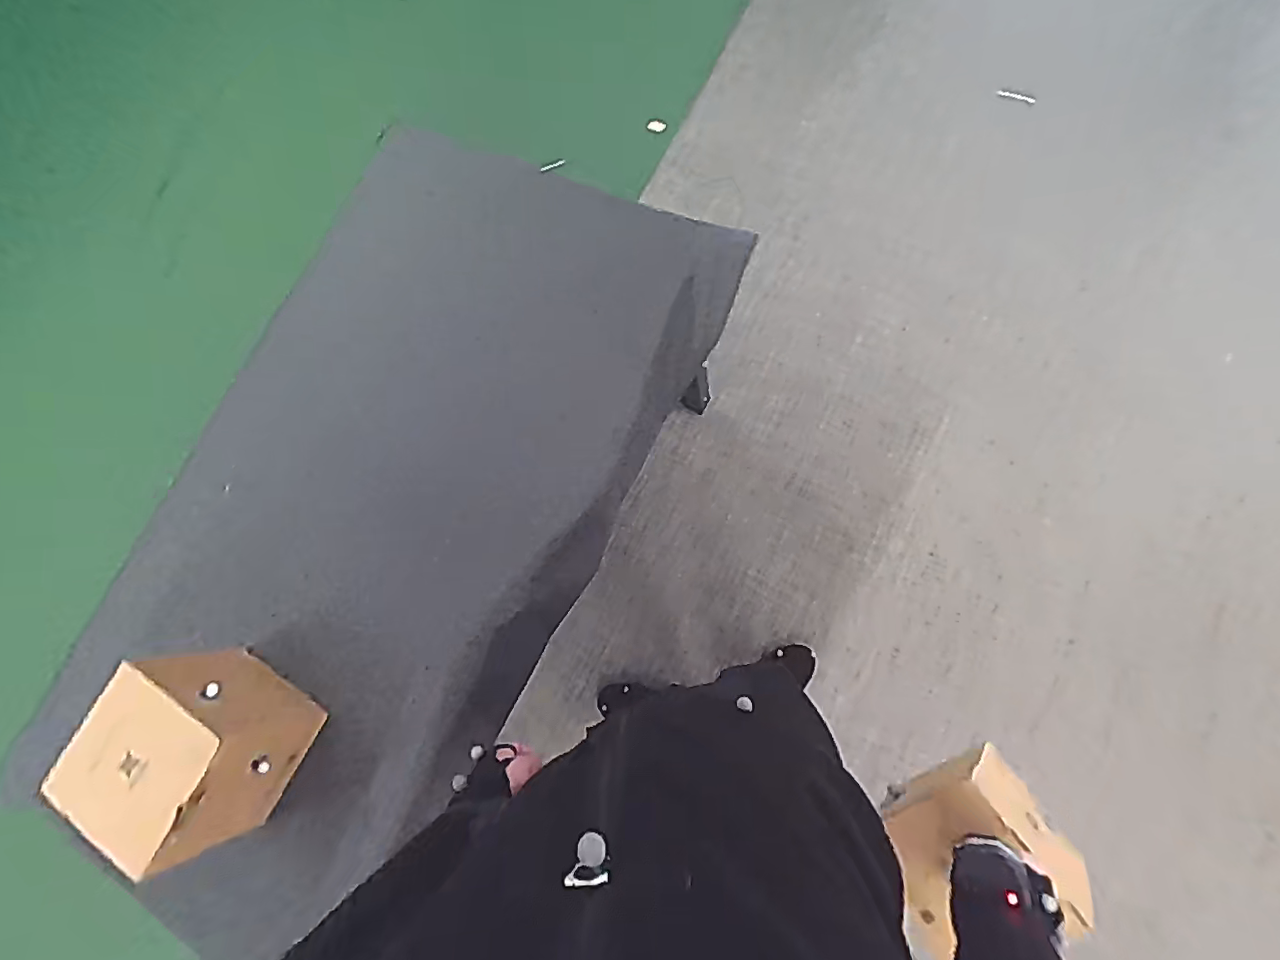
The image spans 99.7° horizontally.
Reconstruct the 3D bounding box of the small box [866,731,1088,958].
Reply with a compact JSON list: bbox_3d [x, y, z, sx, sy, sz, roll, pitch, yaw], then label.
[{"bbox_3d":[0.424,0.458,0.694,0.176,0.179,0.168,-45,59,25],"label":"small box"}]

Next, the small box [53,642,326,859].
[{"bbox_3d":[-0.554,0.321,0.691,0.179,0.176,0.168,28,82,14],"label":"small box"}]
